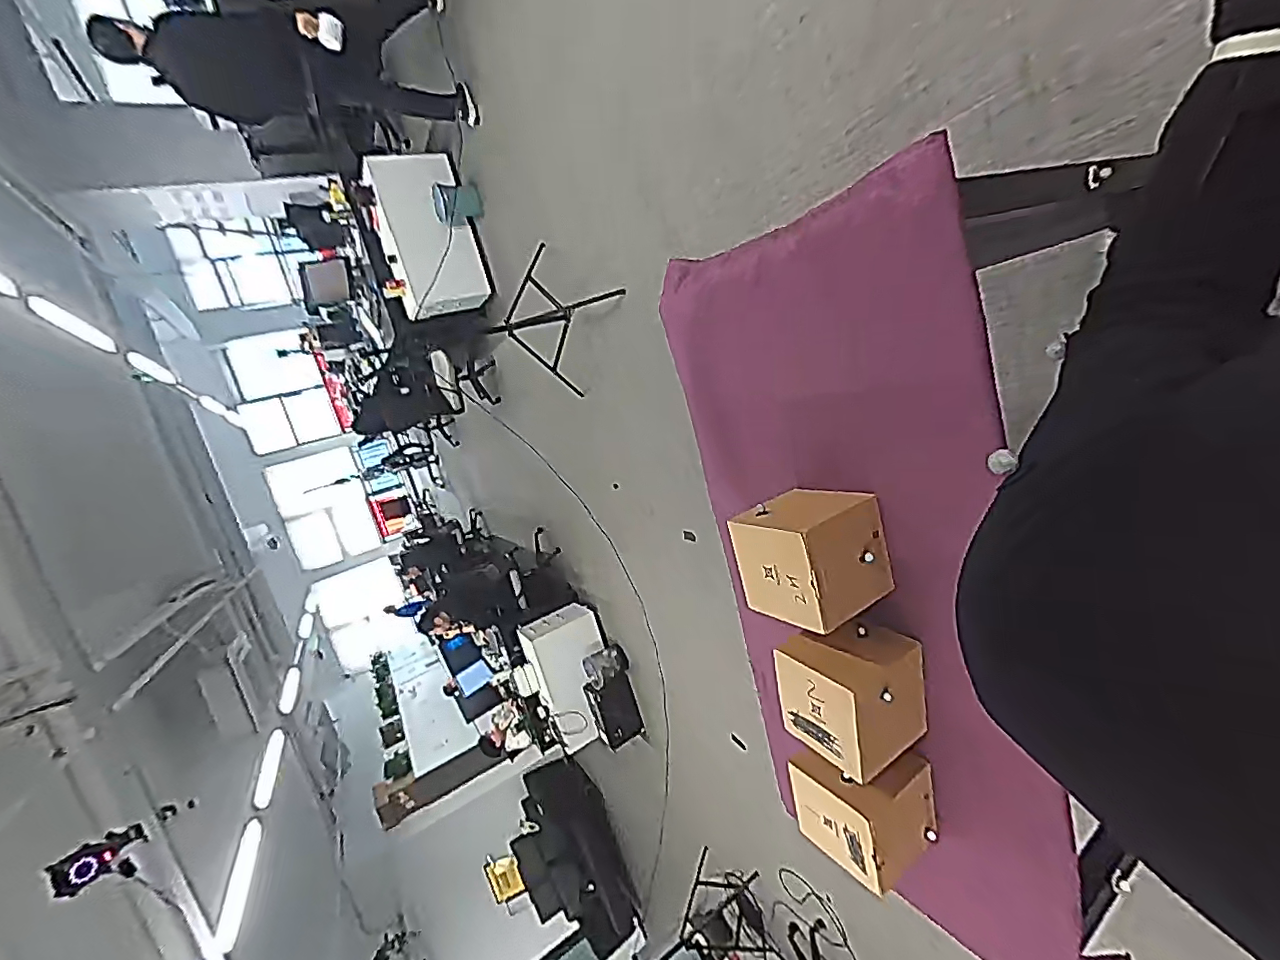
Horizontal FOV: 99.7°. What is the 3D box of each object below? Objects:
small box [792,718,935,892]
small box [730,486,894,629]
[{"bbox_3d":[0.406,0.568,0.974,0.179,0.176,0.168,12,118,59],"label":"small box"},{"bbox_3d":[0.280,0.114,0.889,0.179,0.176,0.168,4,113,61],"label":"small box"}]
